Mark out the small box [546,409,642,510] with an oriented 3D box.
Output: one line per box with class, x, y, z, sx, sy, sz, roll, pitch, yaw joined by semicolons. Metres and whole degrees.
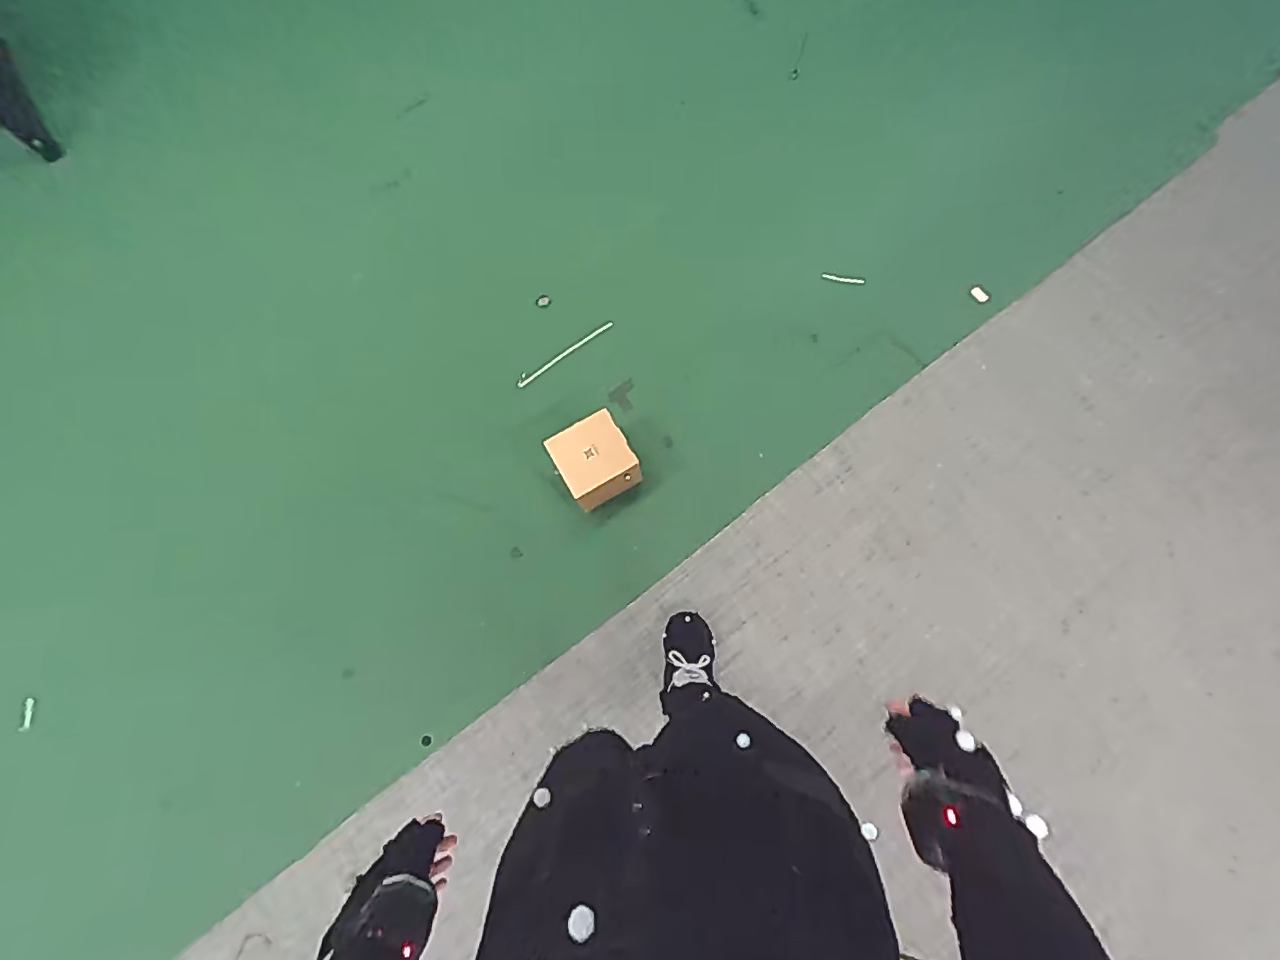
small box;-0.107;-0.042;1.355;0.179;0.176;0.168;-30;76;-5
